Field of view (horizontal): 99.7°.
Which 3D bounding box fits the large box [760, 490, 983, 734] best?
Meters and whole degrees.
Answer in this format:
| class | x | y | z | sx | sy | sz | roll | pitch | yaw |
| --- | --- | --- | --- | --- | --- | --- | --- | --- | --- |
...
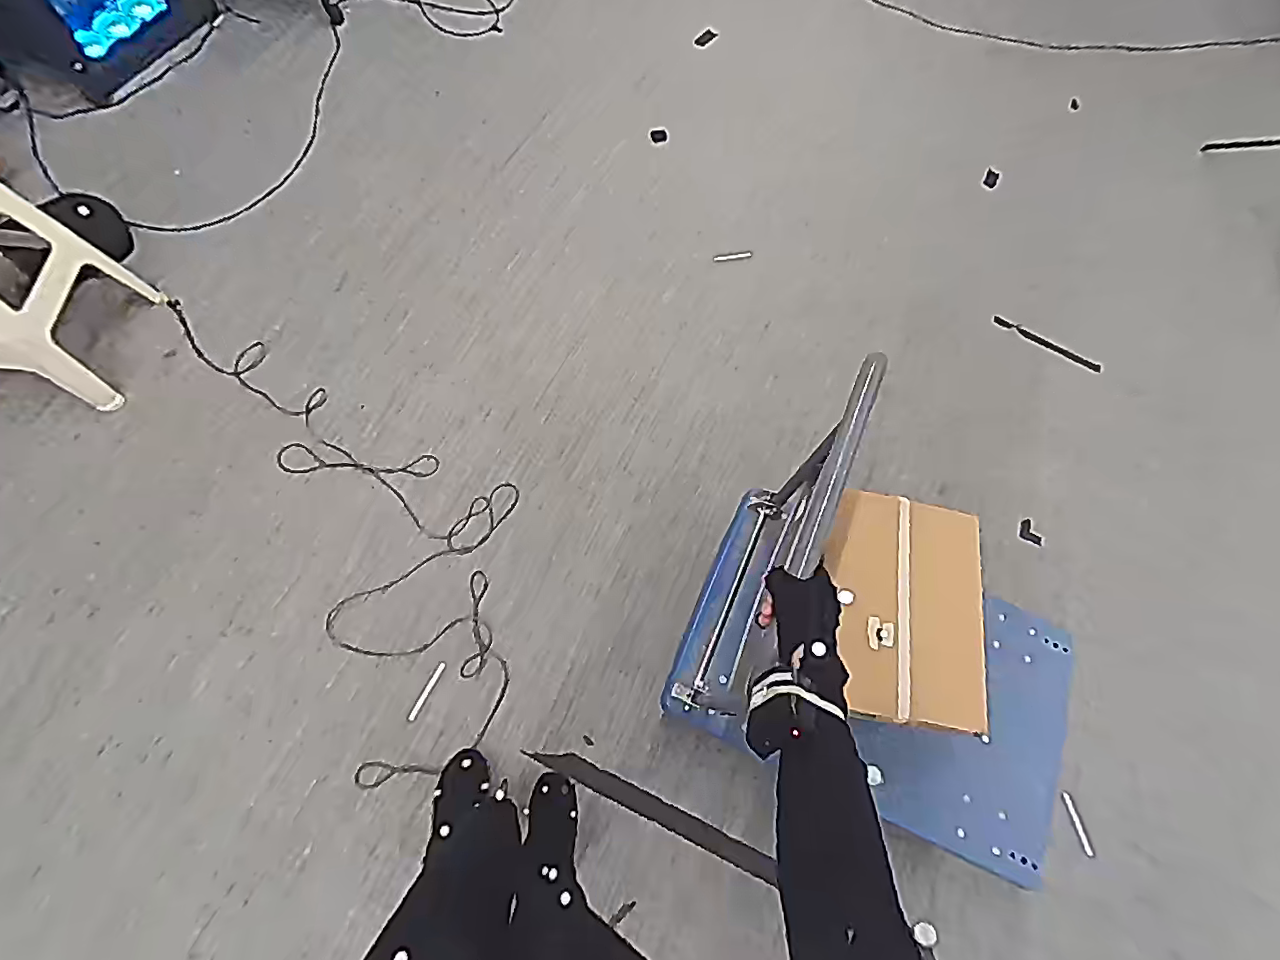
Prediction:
| class | x | y | z | sx | sy | sz | roll | pitch | yaw |
| --- | --- | --- | --- | --- | --- | --- | --- | --- | --- |
| large box | 0.459 | 0.276 | 1.134 | 0.320 | 0.320 | 0.408 | 12 | 69 | -2 |
